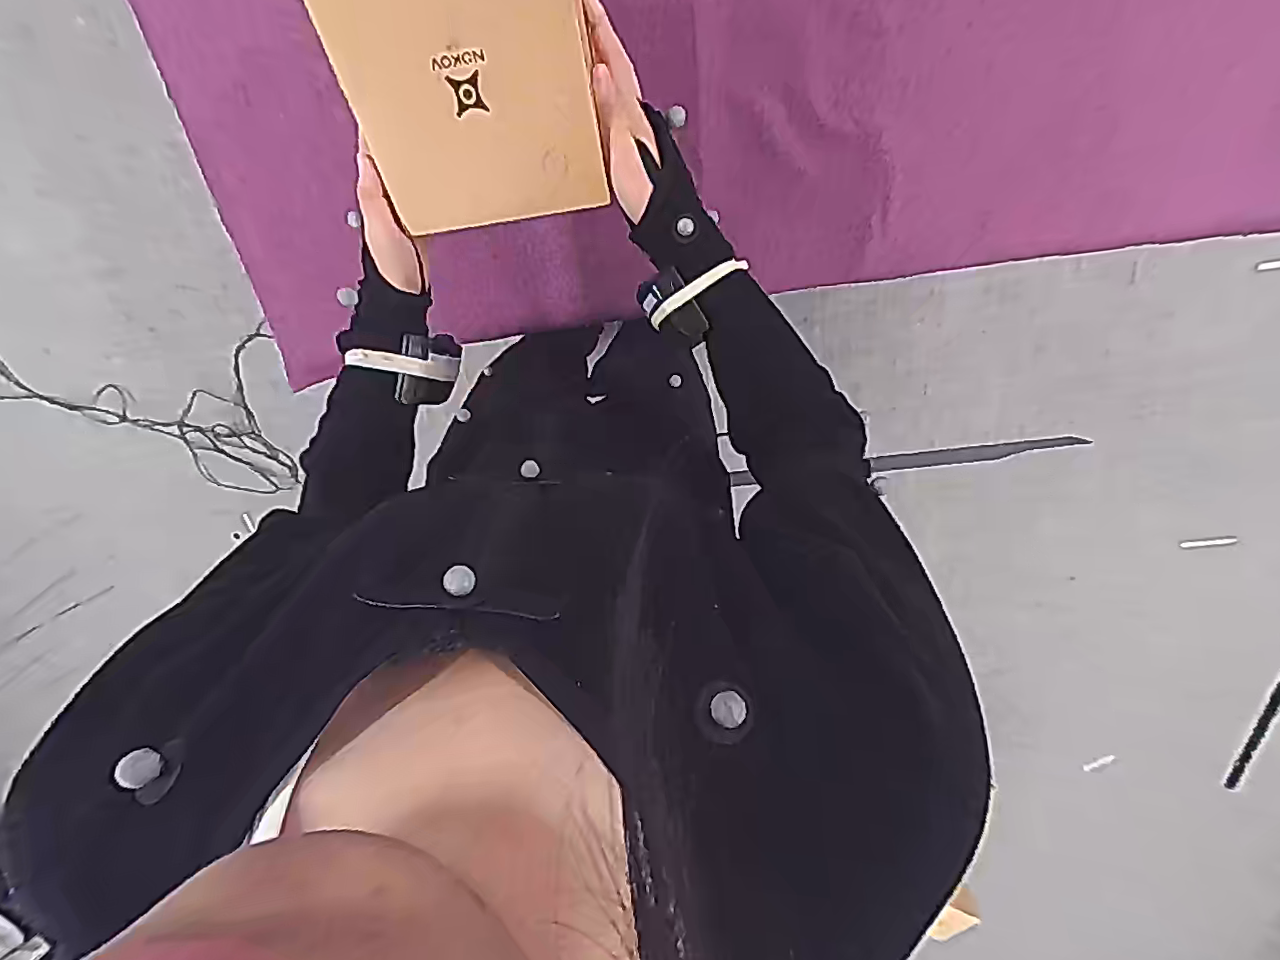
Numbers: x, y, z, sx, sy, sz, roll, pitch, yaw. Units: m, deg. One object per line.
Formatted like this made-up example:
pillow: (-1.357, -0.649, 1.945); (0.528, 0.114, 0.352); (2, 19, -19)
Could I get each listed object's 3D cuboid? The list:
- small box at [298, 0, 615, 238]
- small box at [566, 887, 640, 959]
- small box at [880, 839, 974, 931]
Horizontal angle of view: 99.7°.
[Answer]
small box: (-0.115, -0.314, 0.411); (0.168, 0.176, 0.179); (-6, 135, 7)
small box: (-0.115, 1.448, 1.729); (0.168, 0.176, 0.179); (39, 111, -16)
small box: (0.906, 1.286, 1.726); (0.179, 0.176, 0.168); (31, 116, -13)
